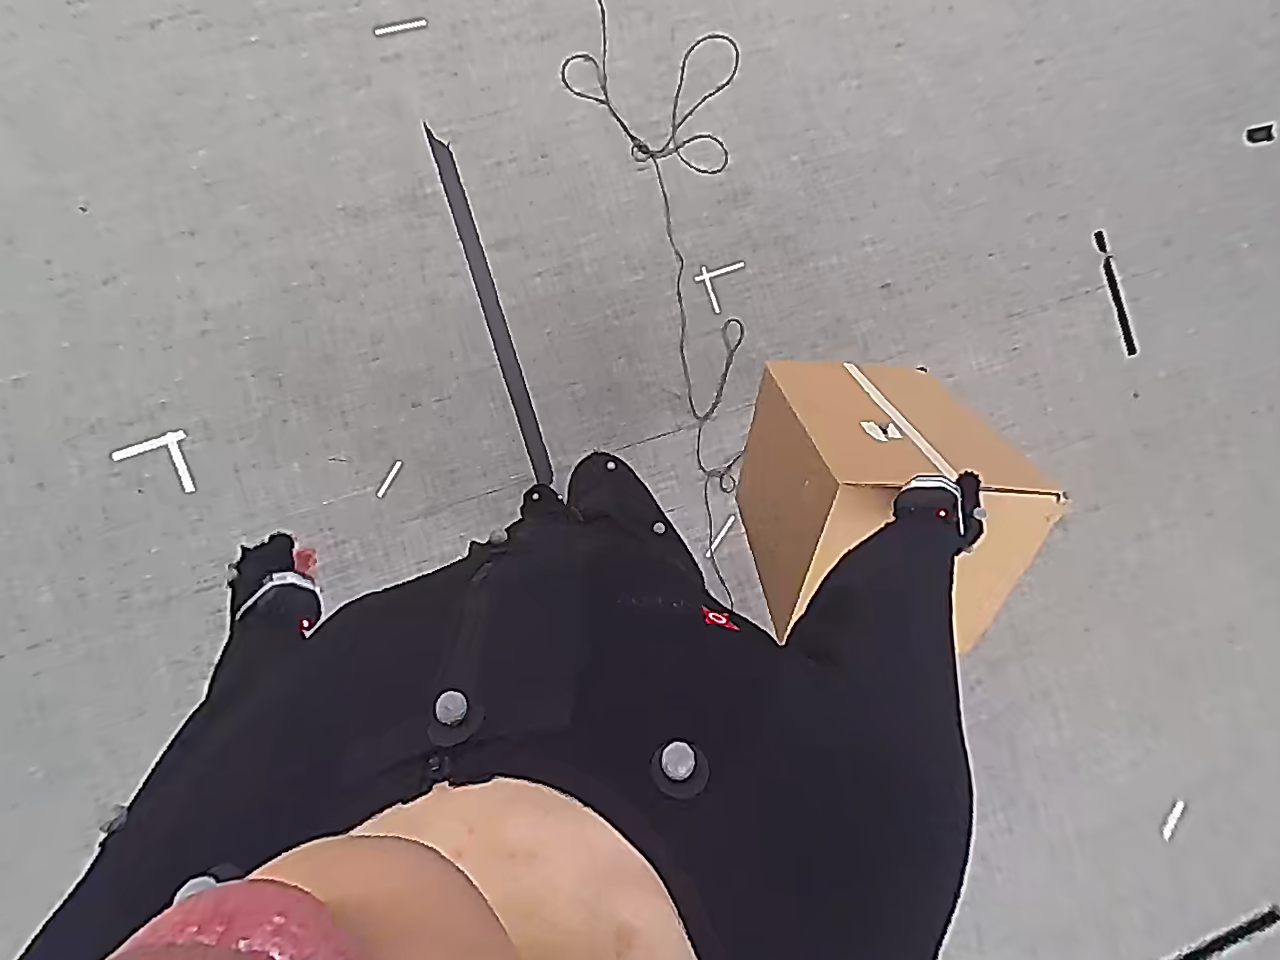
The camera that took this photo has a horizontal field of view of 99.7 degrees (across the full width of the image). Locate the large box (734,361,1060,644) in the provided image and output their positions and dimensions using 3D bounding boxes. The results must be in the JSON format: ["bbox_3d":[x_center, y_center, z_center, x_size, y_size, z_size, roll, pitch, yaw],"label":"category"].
[{"bbox_3d":[0.380,0.025,0.946,0.320,0.408,0.320,3,125,-6],"label":"large box"}]
